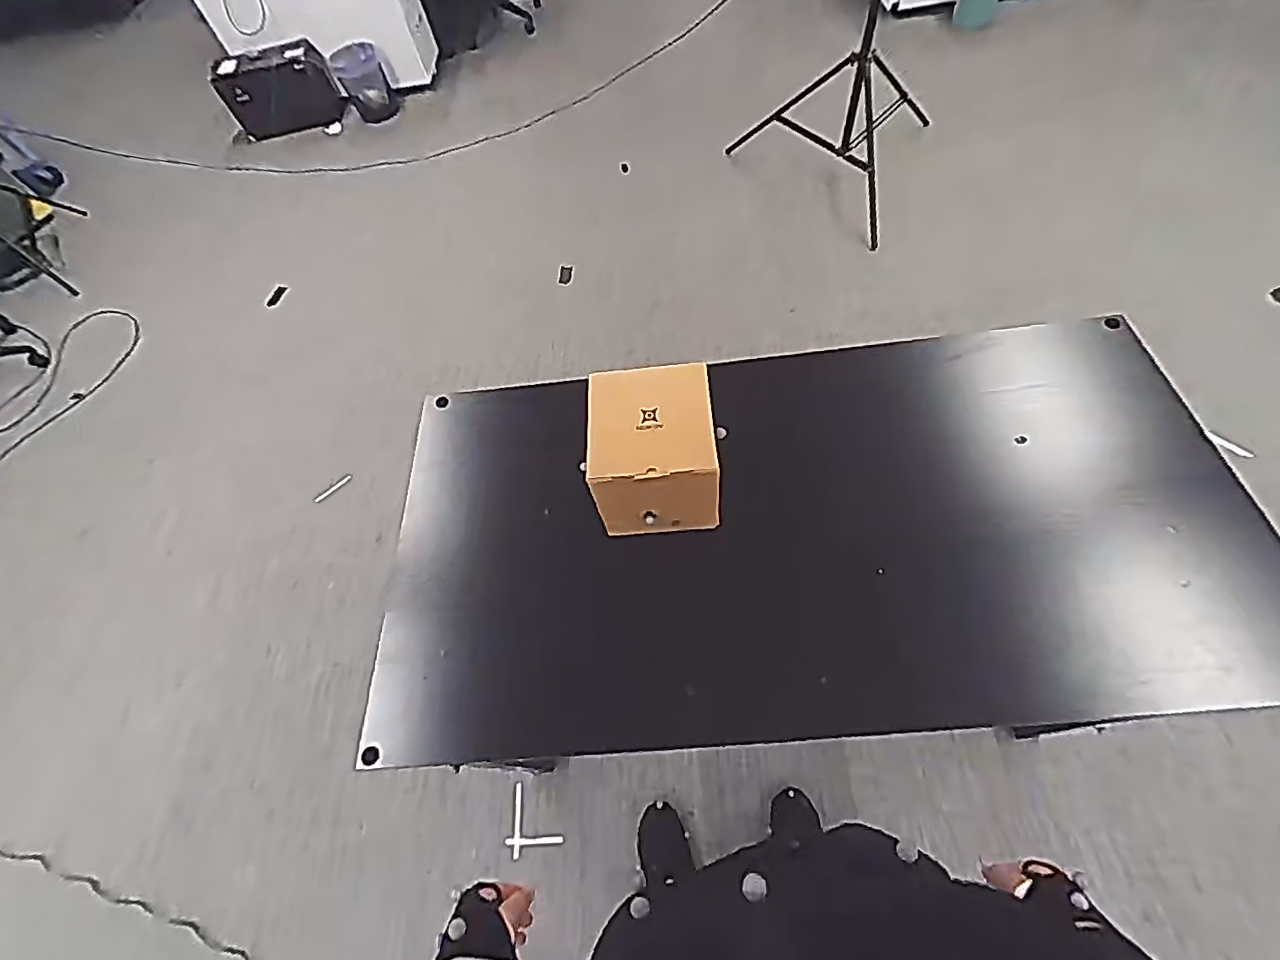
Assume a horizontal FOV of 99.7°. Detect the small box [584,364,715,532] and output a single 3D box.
[{"bbox_3d":[0.017,-0.041,0.781,0.168,0.176,0.179,-5,60,5],"label":"small box"}]
